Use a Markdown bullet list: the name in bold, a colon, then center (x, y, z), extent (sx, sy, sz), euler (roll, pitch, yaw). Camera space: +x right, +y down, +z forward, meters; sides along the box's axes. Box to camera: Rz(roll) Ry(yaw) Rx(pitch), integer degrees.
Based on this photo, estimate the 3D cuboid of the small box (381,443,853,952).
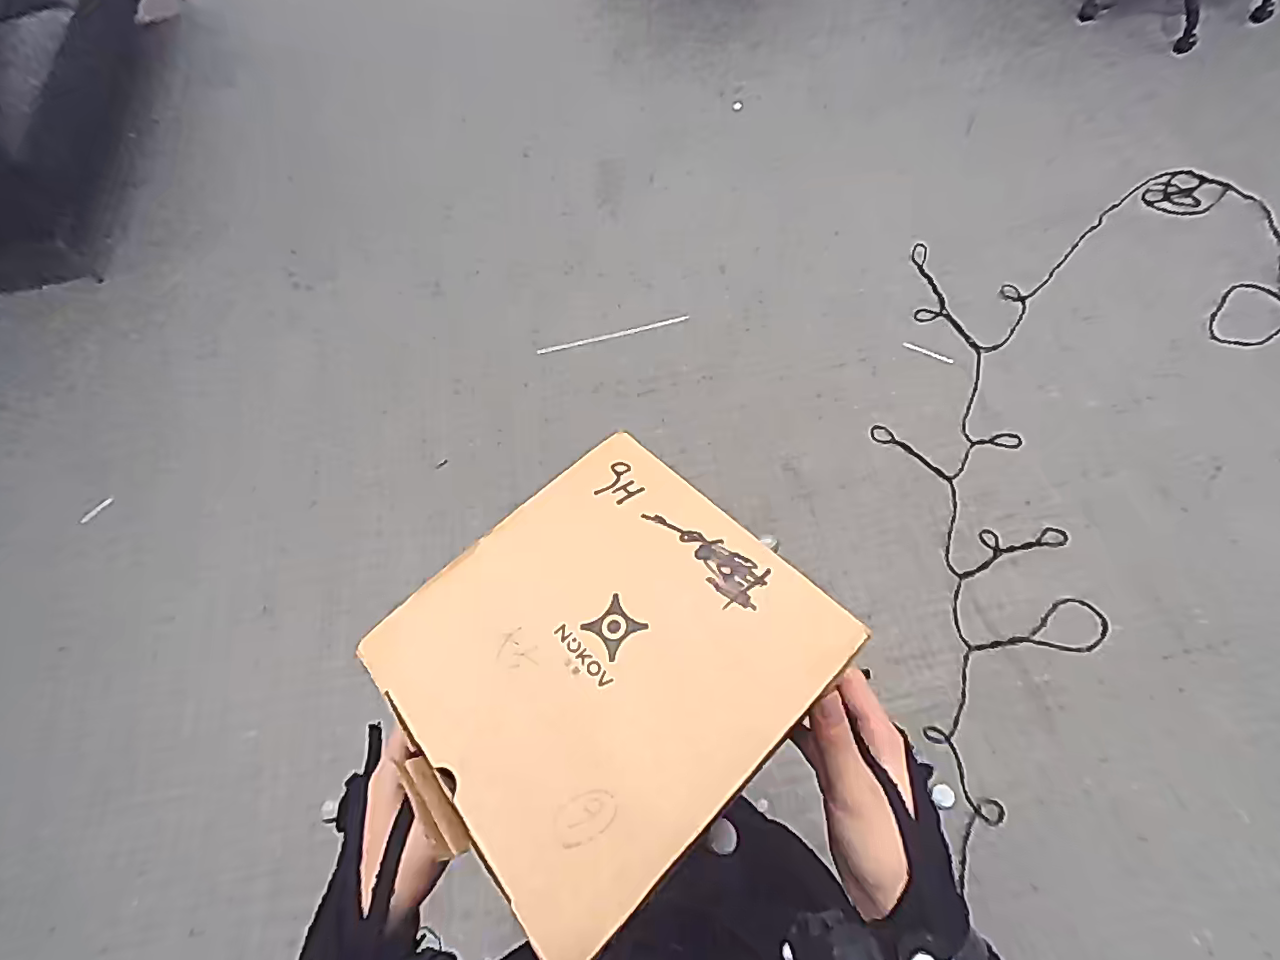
- **small box**: center (-0.006, 0.119, 0.325), extent (0.179, 0.176, 0.168), euler (-41, 61, -17)
